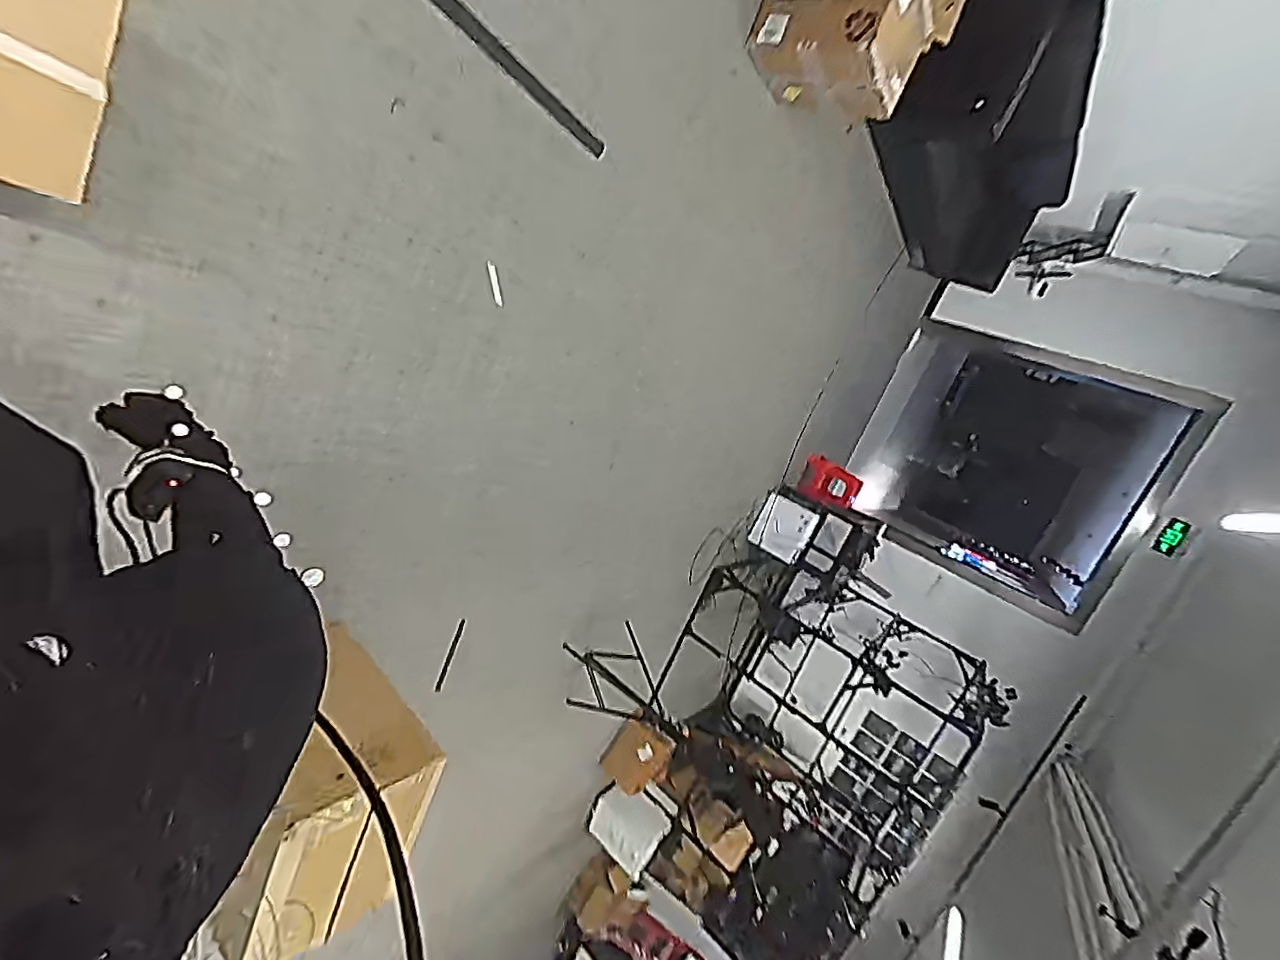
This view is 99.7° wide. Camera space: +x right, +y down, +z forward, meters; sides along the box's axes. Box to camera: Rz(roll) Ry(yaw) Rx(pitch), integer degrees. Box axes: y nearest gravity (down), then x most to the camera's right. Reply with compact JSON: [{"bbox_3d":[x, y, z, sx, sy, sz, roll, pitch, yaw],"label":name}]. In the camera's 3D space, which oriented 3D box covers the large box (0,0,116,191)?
[{"bbox_3d":[-0.935,-0.605,0.618,0.408,0.320,0.320,7,110,-60],"label":"large box"}]
